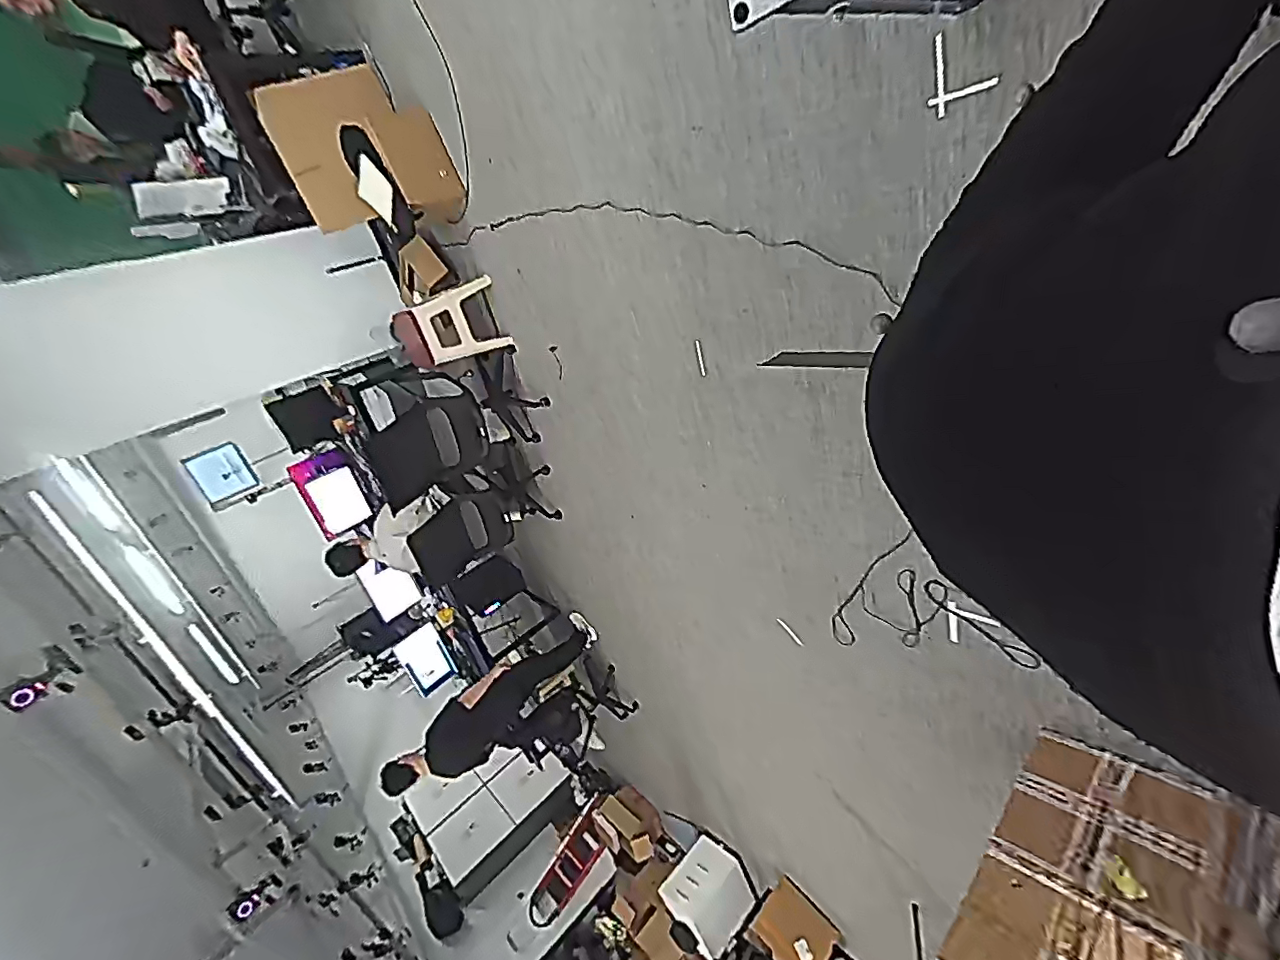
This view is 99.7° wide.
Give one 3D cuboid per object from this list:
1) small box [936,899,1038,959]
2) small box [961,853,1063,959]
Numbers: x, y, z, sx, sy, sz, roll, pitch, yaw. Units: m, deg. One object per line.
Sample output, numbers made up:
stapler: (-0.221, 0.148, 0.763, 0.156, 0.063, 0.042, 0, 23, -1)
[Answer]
small box: (0.872, 1.212, 1.348, 0.179, 0.176, 0.168, 5, 117, 52)
small box: (0.993, 1.149, 1.442, 0.179, 0.176, 0.168, 5, 118, 52)
